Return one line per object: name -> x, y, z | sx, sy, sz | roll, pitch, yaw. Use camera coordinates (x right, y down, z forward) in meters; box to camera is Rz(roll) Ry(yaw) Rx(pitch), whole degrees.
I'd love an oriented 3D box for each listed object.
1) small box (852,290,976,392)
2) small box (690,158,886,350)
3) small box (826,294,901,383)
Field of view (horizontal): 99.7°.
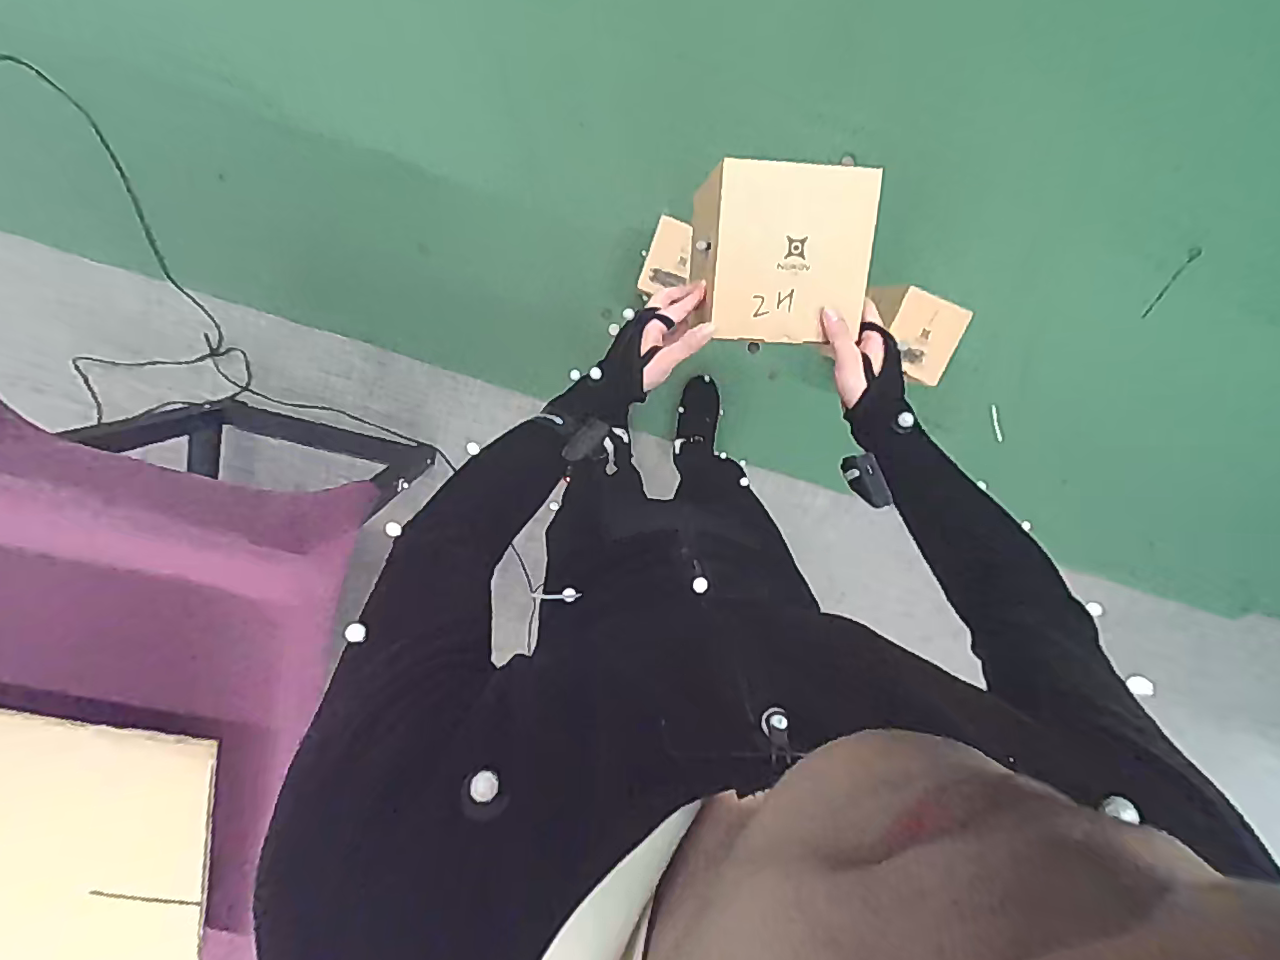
small box -> 0.627, -0.326, 1.266 | 0.168, 0.176, 0.179 | 20, 104, -9
small box -> 0.155, -0.247, 0.629 | 0.168, 0.176, 0.179 | 2, 106, -4
small box -> 0.619, -0.374, 1.422 | 0.168, 0.176, 0.179 | 18, 106, -8
